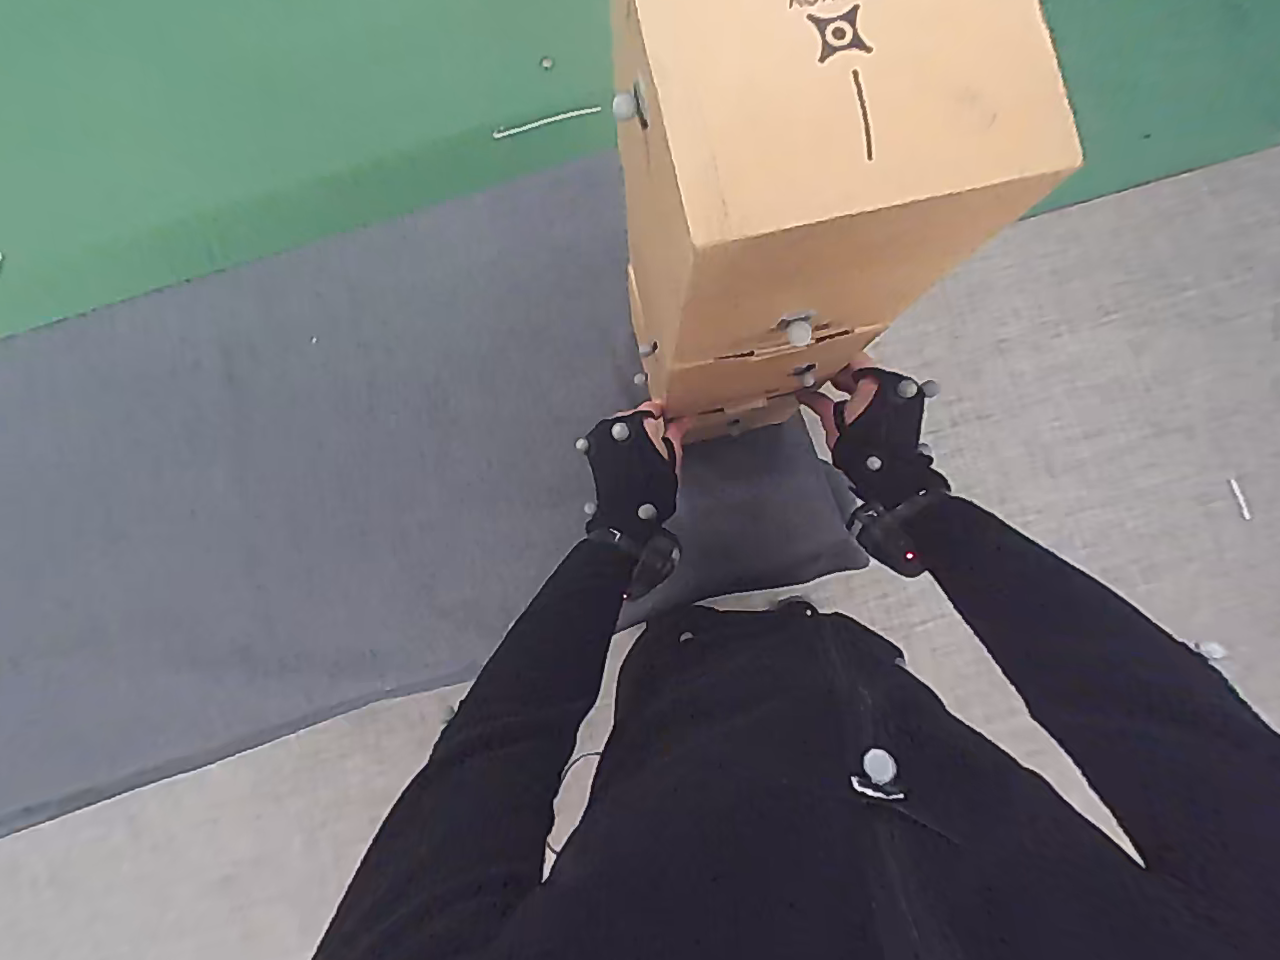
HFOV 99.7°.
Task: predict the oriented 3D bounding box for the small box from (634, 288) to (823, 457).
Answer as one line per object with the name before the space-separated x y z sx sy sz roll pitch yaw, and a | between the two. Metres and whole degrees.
small box | 0.094 -0.130 0.642 0.168 0.176 0.179 -14 84 0

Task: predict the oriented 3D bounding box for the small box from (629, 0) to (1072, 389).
small box | 0.088 -0.171 0.317 0.168 0.176 0.179 -13 85 -1

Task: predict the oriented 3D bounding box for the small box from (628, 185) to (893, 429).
small box | 0.090 -0.151 0.481 0.168 0.176 0.179 -13 82 -1
